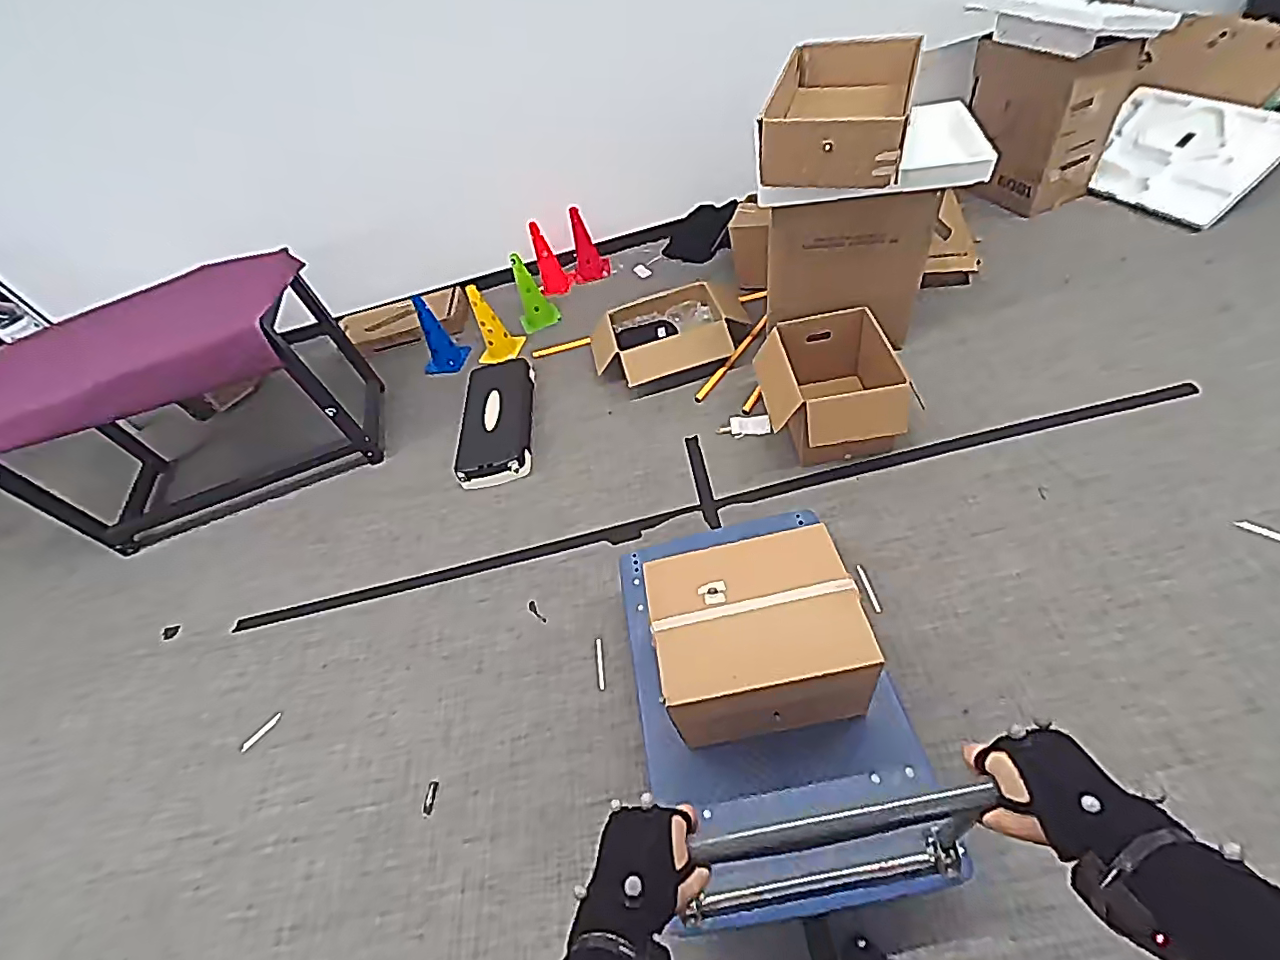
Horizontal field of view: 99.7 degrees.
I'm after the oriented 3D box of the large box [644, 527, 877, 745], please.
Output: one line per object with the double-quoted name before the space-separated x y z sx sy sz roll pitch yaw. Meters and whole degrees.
"large box" 0.254 0.354 1.201 0.408 0.320 0.320 -14 48 5
